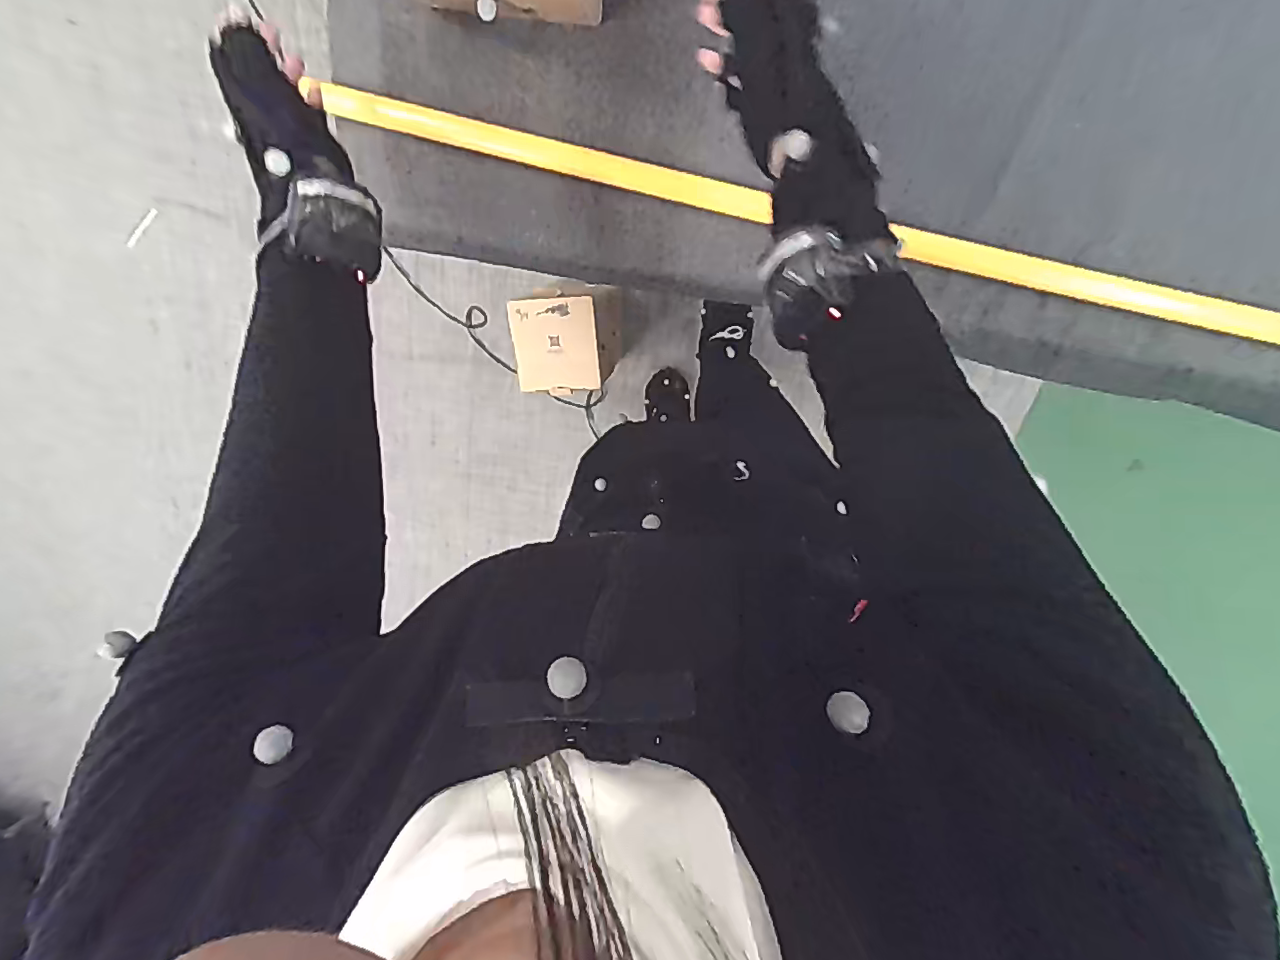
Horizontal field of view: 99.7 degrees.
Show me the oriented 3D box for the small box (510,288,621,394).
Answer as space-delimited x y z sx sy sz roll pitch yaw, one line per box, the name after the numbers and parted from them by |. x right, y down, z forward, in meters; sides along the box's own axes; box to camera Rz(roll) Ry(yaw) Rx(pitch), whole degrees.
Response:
-0.142 -0.286 1.101 0.168 0.176 0.179 -2 113 12 | small box

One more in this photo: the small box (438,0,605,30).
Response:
-0.112 -0.469 0.388 0.168 0.176 0.179 10 115 4 | small box
